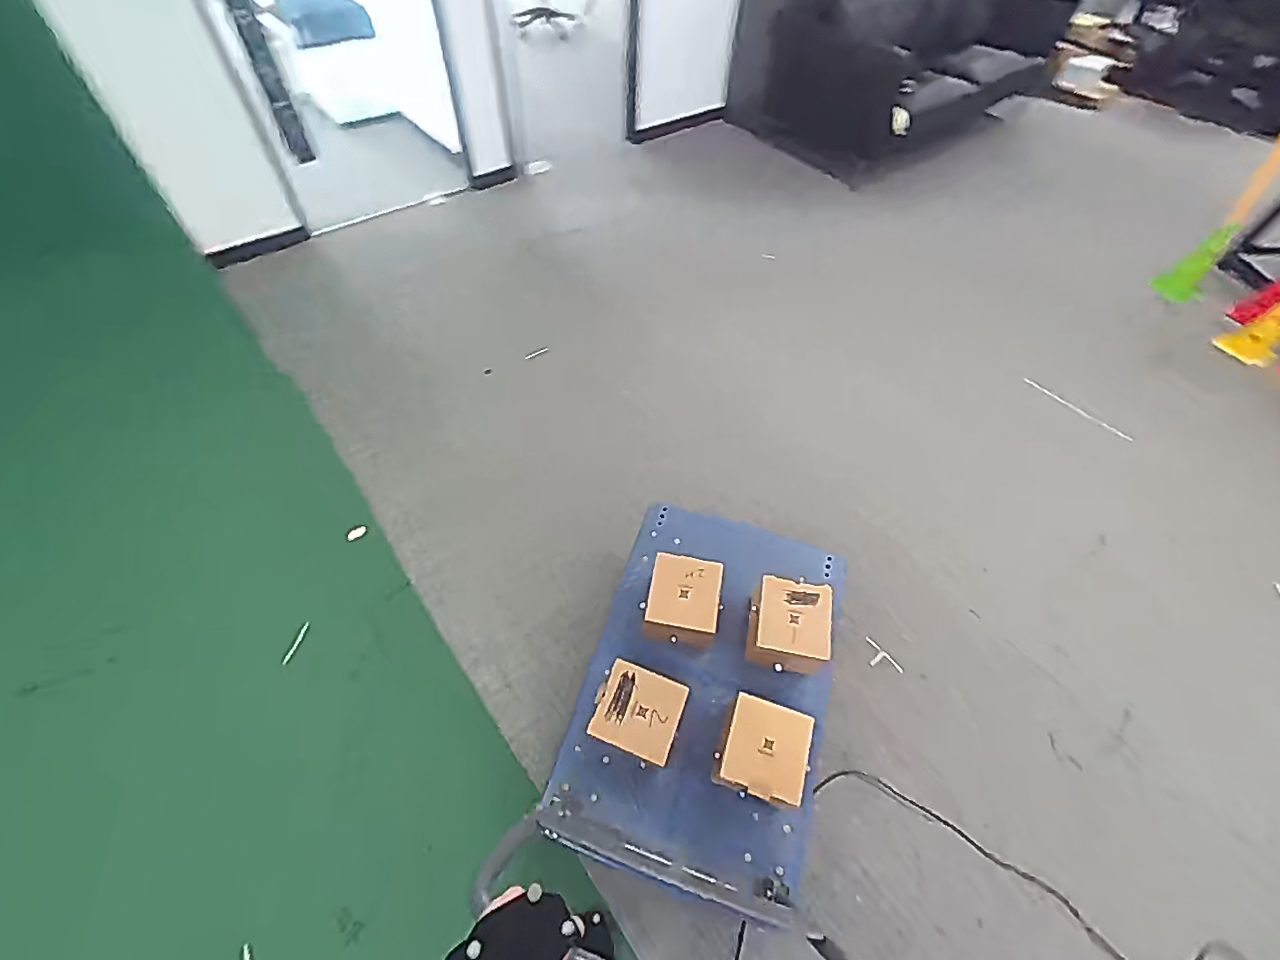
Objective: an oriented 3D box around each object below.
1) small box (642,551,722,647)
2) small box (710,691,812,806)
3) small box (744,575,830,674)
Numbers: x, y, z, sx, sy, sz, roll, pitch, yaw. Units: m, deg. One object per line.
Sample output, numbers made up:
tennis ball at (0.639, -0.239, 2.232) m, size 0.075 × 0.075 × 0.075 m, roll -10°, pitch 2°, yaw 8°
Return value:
small box at (0.102, 0.302, 1.348) m, size 0.168 × 0.176 × 0.179 m, roll 10°, pitch 60°, yaw 4°
small box at (0.259, 0.589, 1.186) m, size 0.168 × 0.176 × 0.179 m, roll 17°, pitch 62°, yaw 9°
small box at (0.355, 0.356, 1.322) m, size 0.168 × 0.176 × 0.179 m, roll 10°, pitch 61°, yaw 6°
